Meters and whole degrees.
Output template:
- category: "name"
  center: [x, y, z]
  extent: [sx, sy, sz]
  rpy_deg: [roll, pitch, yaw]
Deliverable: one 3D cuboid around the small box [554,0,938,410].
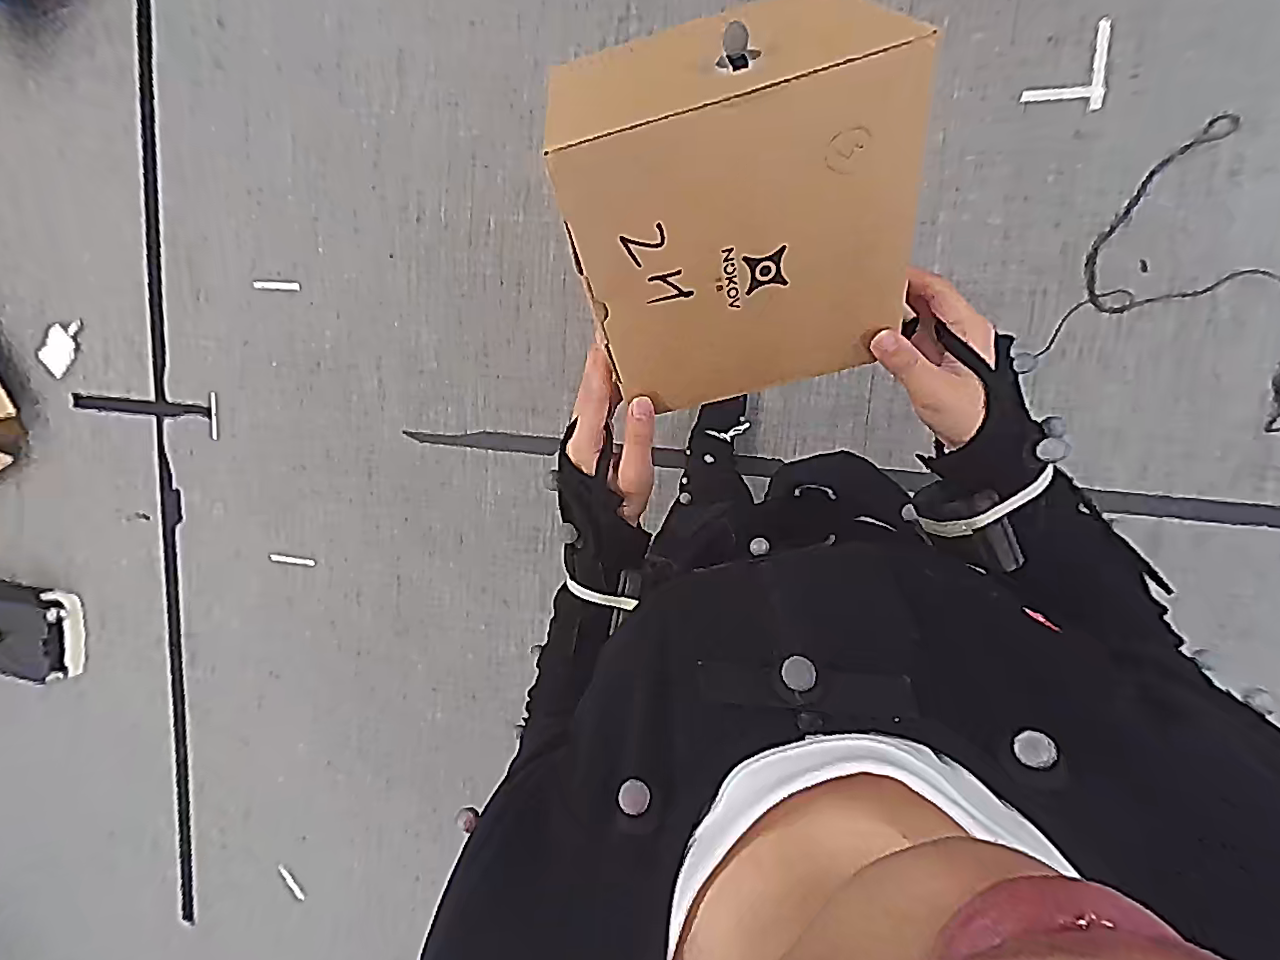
- category: "small box"
  center: [0.053, -0.175, 0.348]
  extent: [0.179, 0.176, 0.168]
  rpy_deg: [-12, 136, 7]
